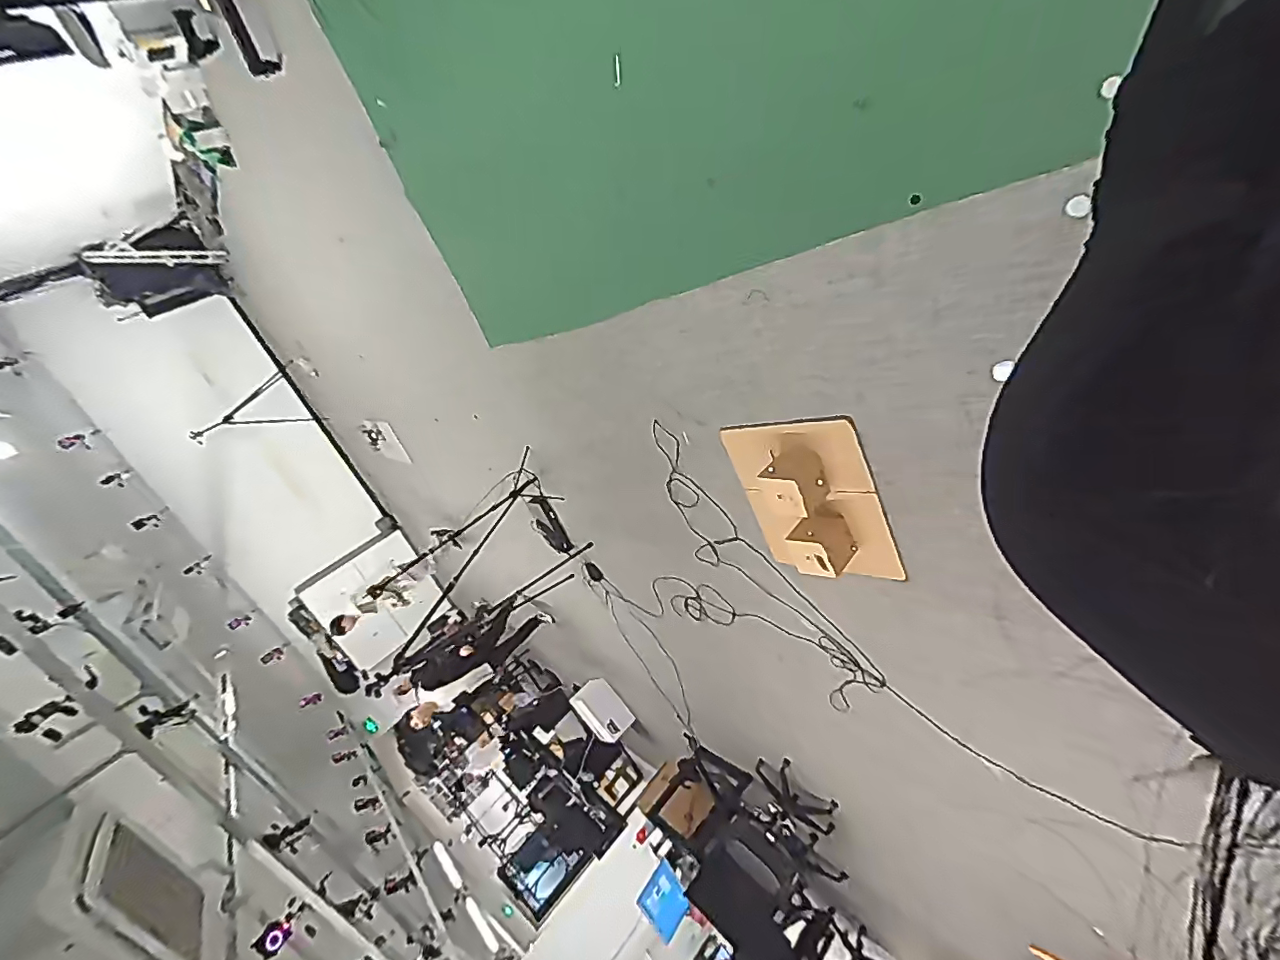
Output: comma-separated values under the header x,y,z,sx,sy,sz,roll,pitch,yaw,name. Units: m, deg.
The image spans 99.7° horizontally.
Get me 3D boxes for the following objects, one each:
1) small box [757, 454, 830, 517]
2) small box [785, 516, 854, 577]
x,y,z,sx,sy,sz,roll,pitch,yaw,name
0.573,0.016,2.008,0.179,0.176,0.168,5,128,50,small box
0.702,0.252,2.087,0.179,0.176,0.168,-2,122,54,small box
